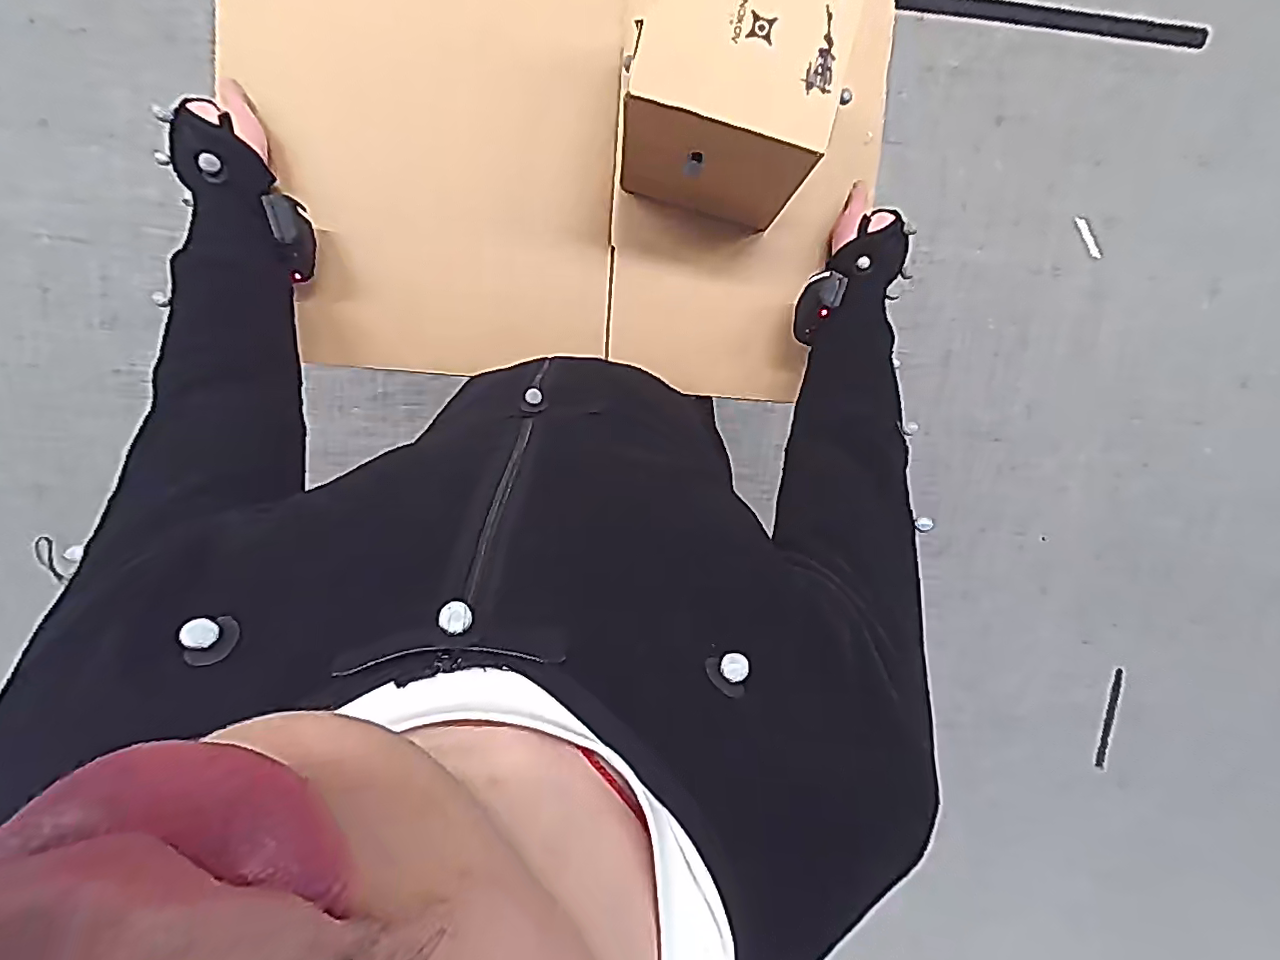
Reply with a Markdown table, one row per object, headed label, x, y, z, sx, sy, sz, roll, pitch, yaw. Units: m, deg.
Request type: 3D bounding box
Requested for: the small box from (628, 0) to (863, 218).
| label | x | y | z | sx | sy | sz | roll | pitch | yaw |
| --- | --- | --- | --- | --- | --- | --- | --- | --- | --- |
| small box | 0.089 | -0.384 | 0.528 | 0.179 | 0.176 | 0.168 | 14 | 94 | -4 |
